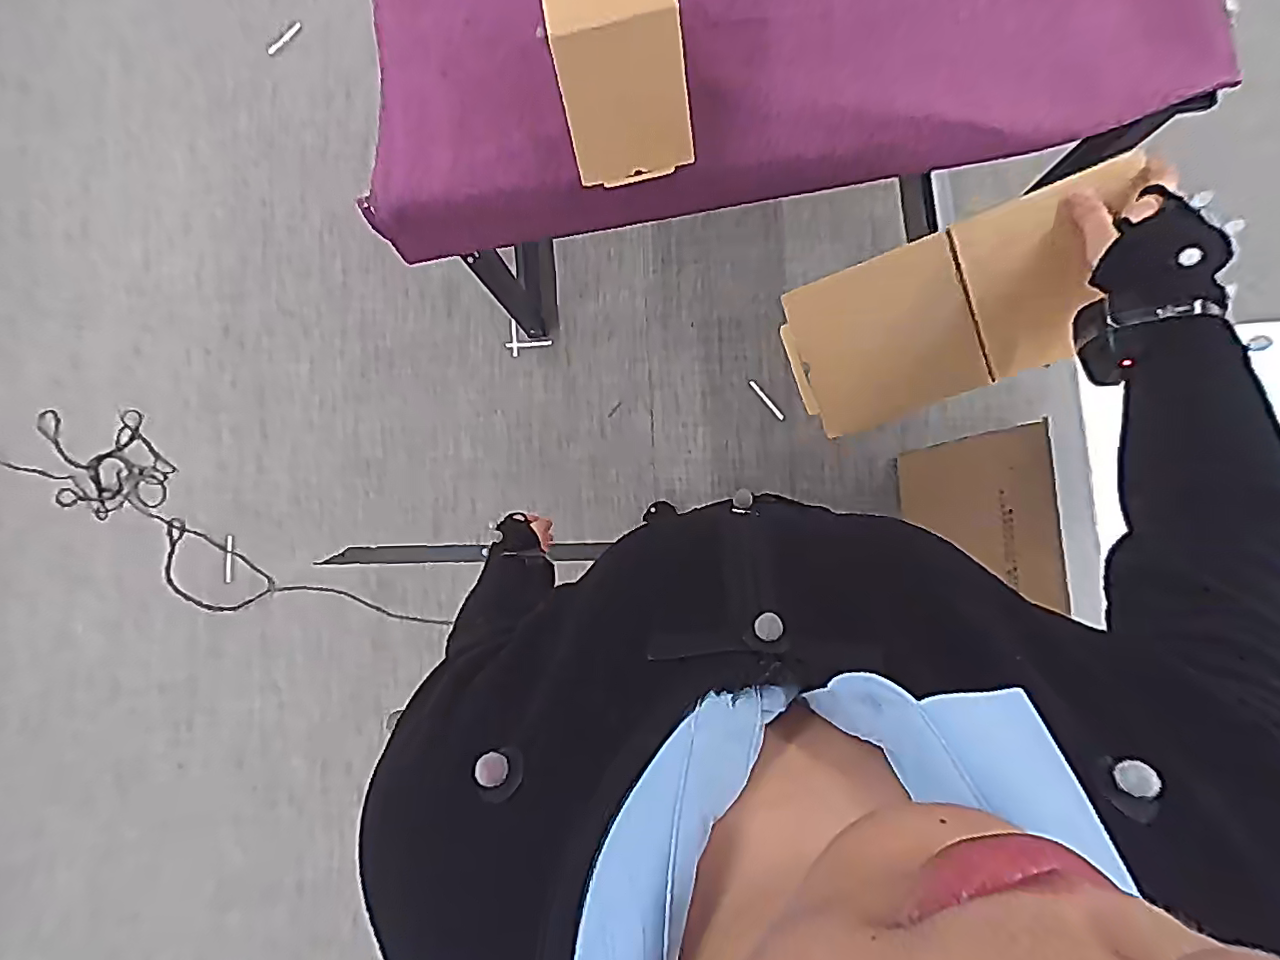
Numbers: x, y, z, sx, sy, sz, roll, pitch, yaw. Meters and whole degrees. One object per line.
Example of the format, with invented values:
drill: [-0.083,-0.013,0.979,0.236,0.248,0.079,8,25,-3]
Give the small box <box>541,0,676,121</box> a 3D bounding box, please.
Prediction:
small box: [-0.043,-0.639,0.752,0.168,0.176,0.179,-10,84,3]
